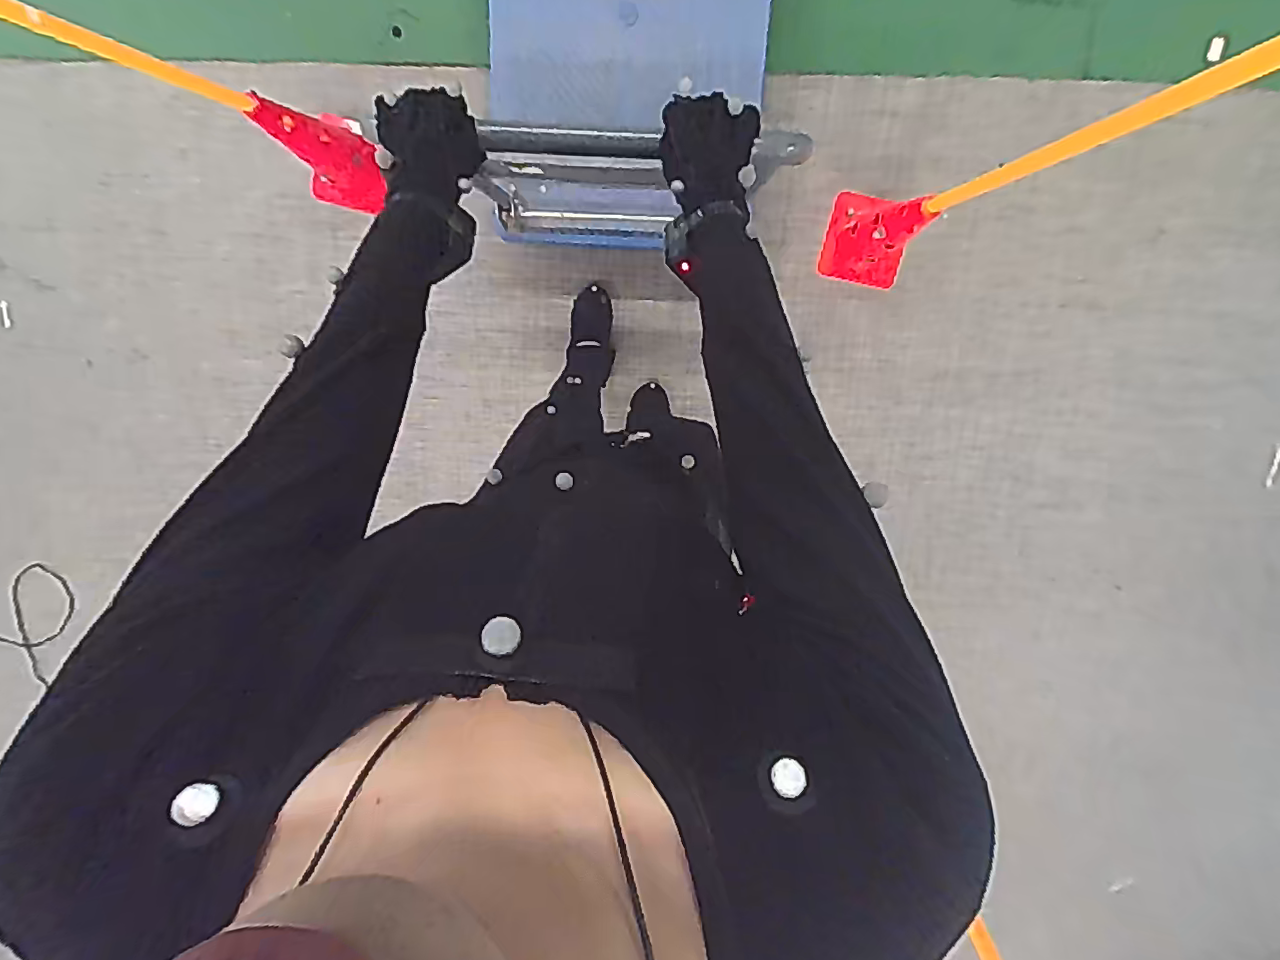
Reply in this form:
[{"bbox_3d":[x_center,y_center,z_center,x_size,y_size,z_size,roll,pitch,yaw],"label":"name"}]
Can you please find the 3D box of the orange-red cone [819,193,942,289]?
[{"bbox_3d":[0.552,-0.549,1.172,0.198,0.360,0.199,13,104,0],"label":"orange-red cone"}]
